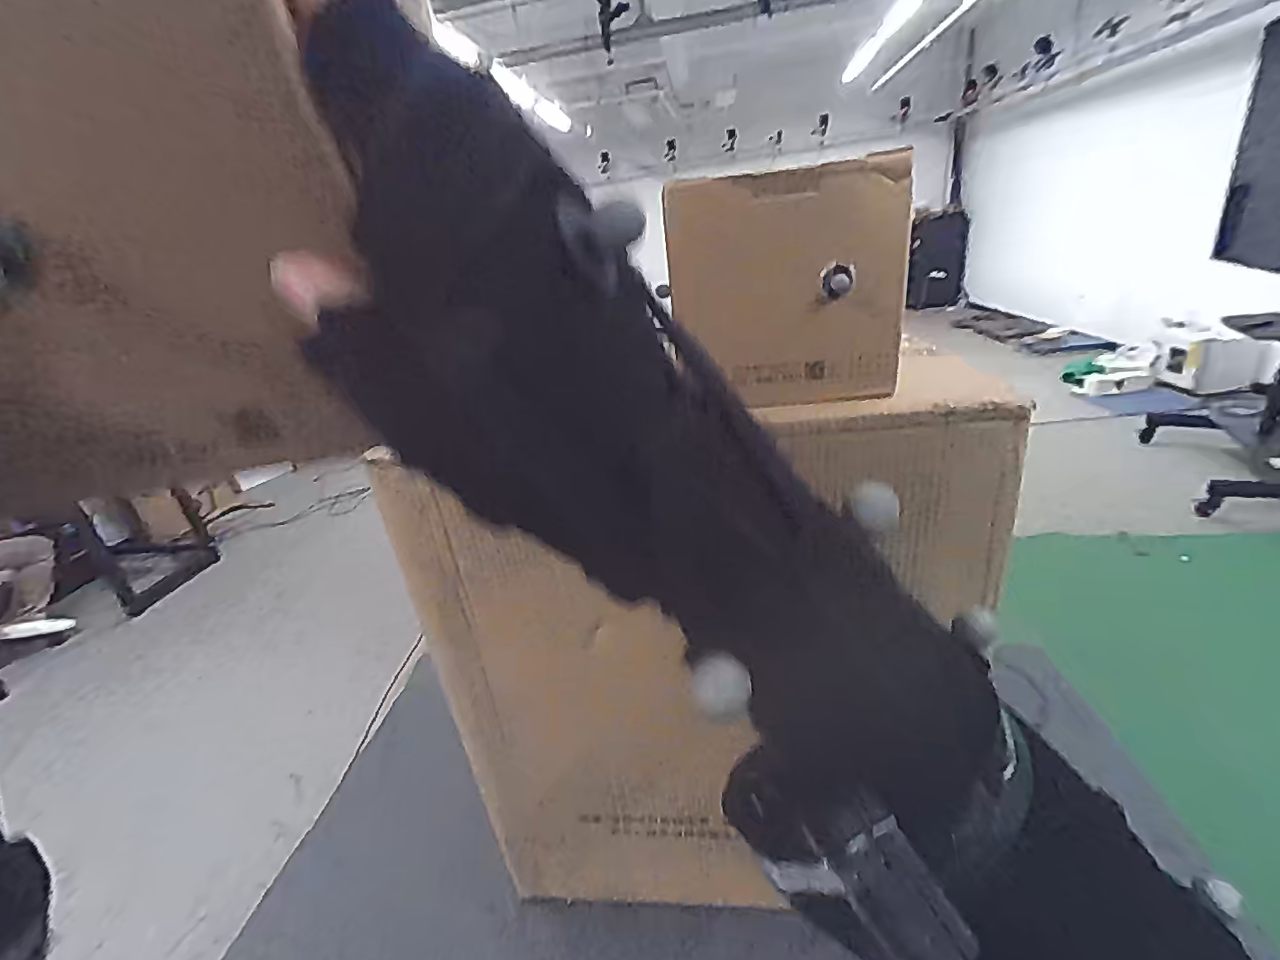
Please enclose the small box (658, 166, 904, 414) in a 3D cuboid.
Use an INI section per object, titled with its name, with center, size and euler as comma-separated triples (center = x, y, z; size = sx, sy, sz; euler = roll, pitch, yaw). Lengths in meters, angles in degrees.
[small box]
center = 0.111, -0.159, 0.468
size = 0.168, 0.176, 0.179
euler = -2, 25, 8
